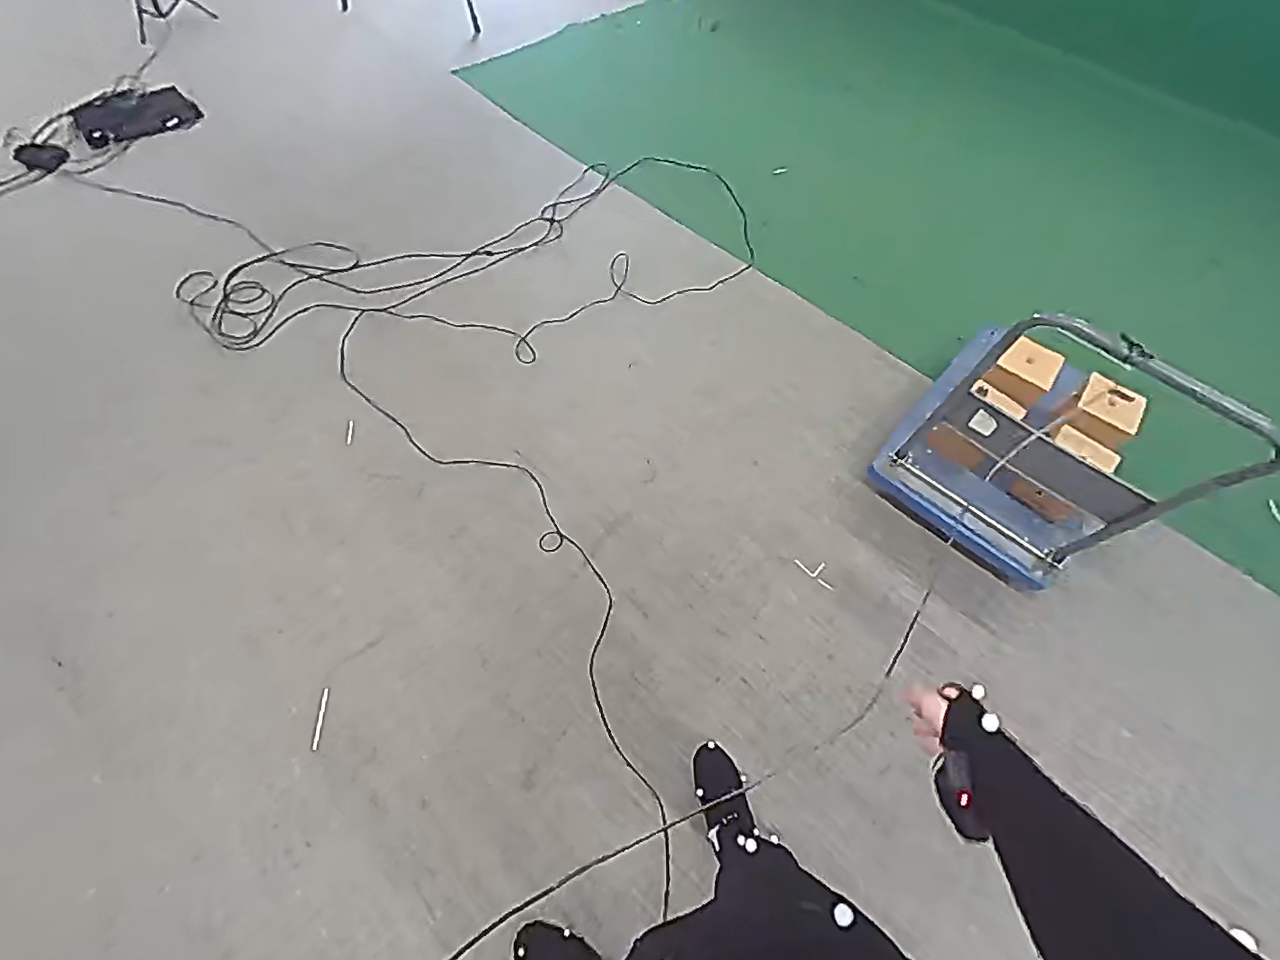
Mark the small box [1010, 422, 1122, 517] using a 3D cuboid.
[{"bbox_3d":[1.226,-0.026,1.568,0.168,0.176,0.179,40,67,17],"label":"small box"}]

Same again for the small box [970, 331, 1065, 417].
[{"bbox_3d":[1.207,-0.337,1.741,0.168,0.176,0.179,36,65,15],"label":"small box"}]

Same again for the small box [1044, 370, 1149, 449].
[{"bbox_3d":[1.406,-0.198,1.674,0.168,0.176,0.179,35,66,16],"label":"small box"}]
